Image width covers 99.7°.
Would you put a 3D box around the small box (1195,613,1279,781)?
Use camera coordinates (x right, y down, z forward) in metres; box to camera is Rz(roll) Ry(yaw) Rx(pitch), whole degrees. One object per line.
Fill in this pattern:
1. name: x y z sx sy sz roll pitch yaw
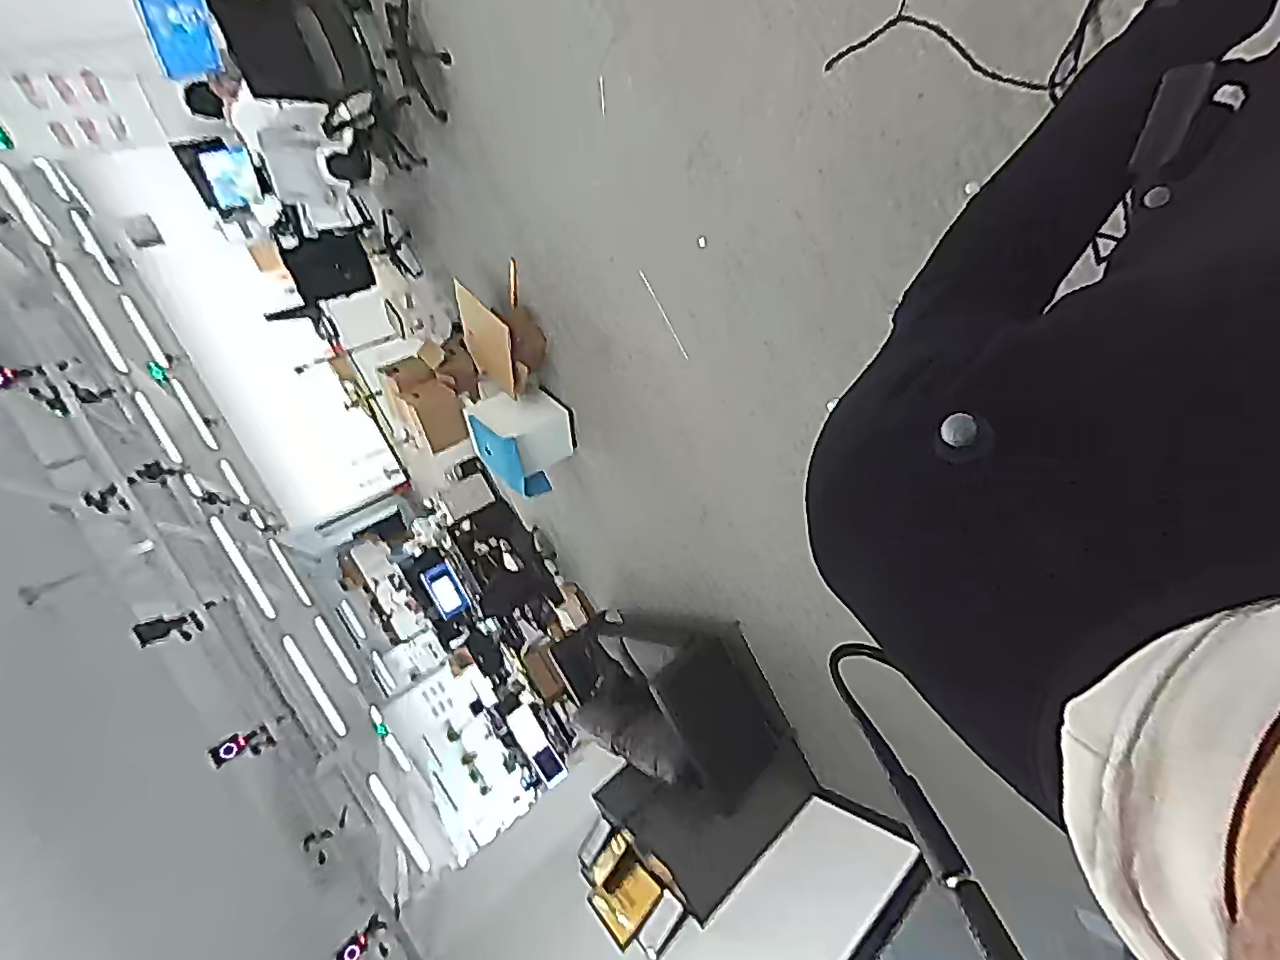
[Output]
1. small box: 0.958 0.317 0.777 0.168 0.176 0.179 -15 103 61
